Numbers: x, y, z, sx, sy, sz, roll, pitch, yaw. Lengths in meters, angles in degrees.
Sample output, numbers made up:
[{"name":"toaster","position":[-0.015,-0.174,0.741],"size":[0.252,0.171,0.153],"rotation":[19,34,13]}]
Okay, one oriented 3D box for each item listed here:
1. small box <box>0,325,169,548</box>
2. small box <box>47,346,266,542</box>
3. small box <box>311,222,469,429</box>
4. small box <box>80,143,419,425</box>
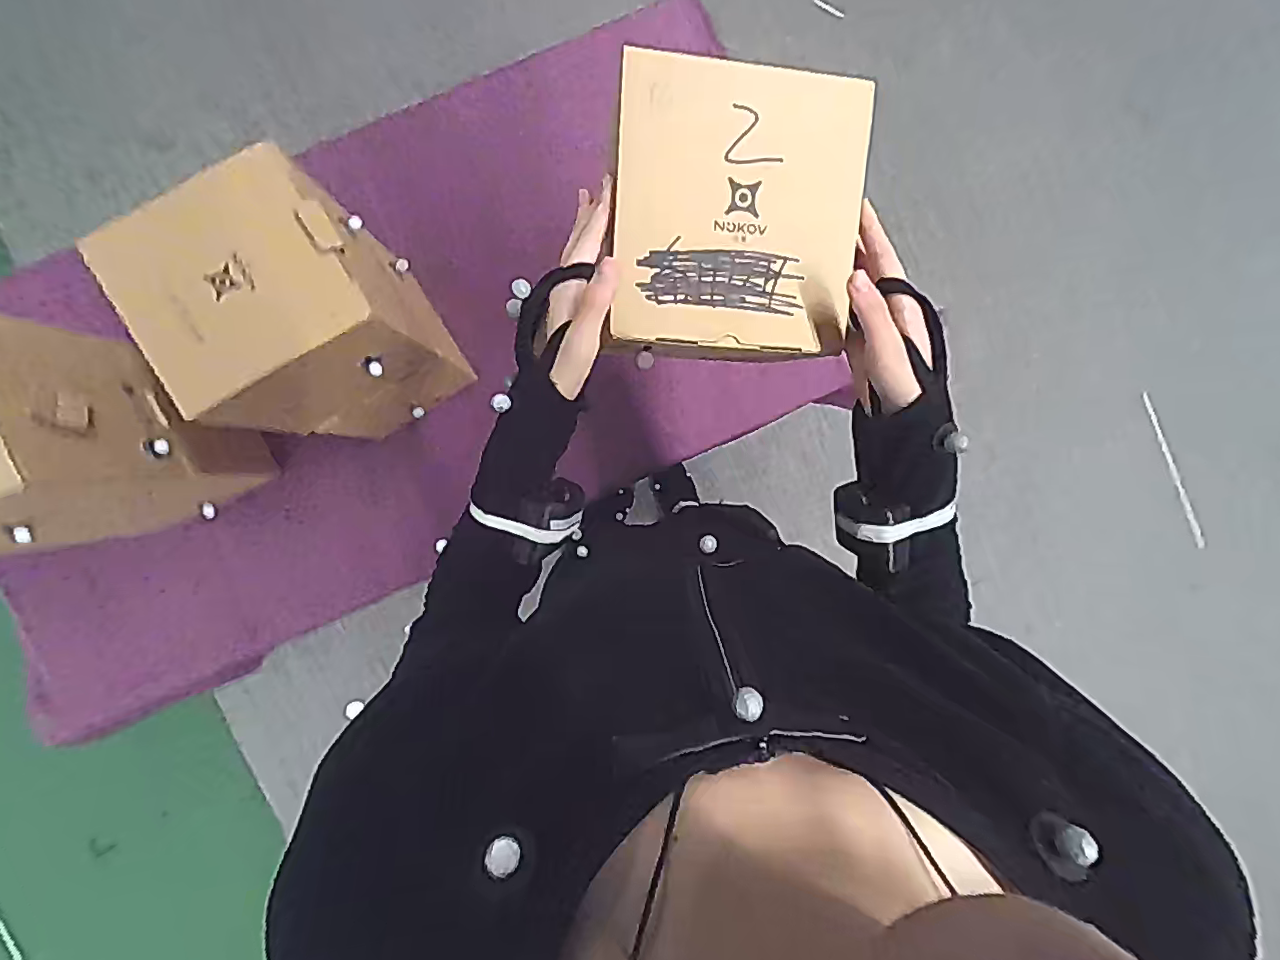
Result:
[{"name":"small box","position":[-0.606,-0.038,0.509],"size":[0.179,0.176,0.168],"rotation":[-26,93,-1]},{"name":"small box","position":[-0.615,-0.044,0.674],"size":[0.179,0.176,0.168],"rotation":[-27,93,-2]},{"name":"small box","position":[-0.347,-0.177,0.682],"size":[0.168,0.176,0.179],"rotation":[-32,94,-1]},{"name":"small box","position":[-0.340,-0.166,0.519],"size":[0.179,0.176,0.168],"rotation":[-30,92,-1]}]
